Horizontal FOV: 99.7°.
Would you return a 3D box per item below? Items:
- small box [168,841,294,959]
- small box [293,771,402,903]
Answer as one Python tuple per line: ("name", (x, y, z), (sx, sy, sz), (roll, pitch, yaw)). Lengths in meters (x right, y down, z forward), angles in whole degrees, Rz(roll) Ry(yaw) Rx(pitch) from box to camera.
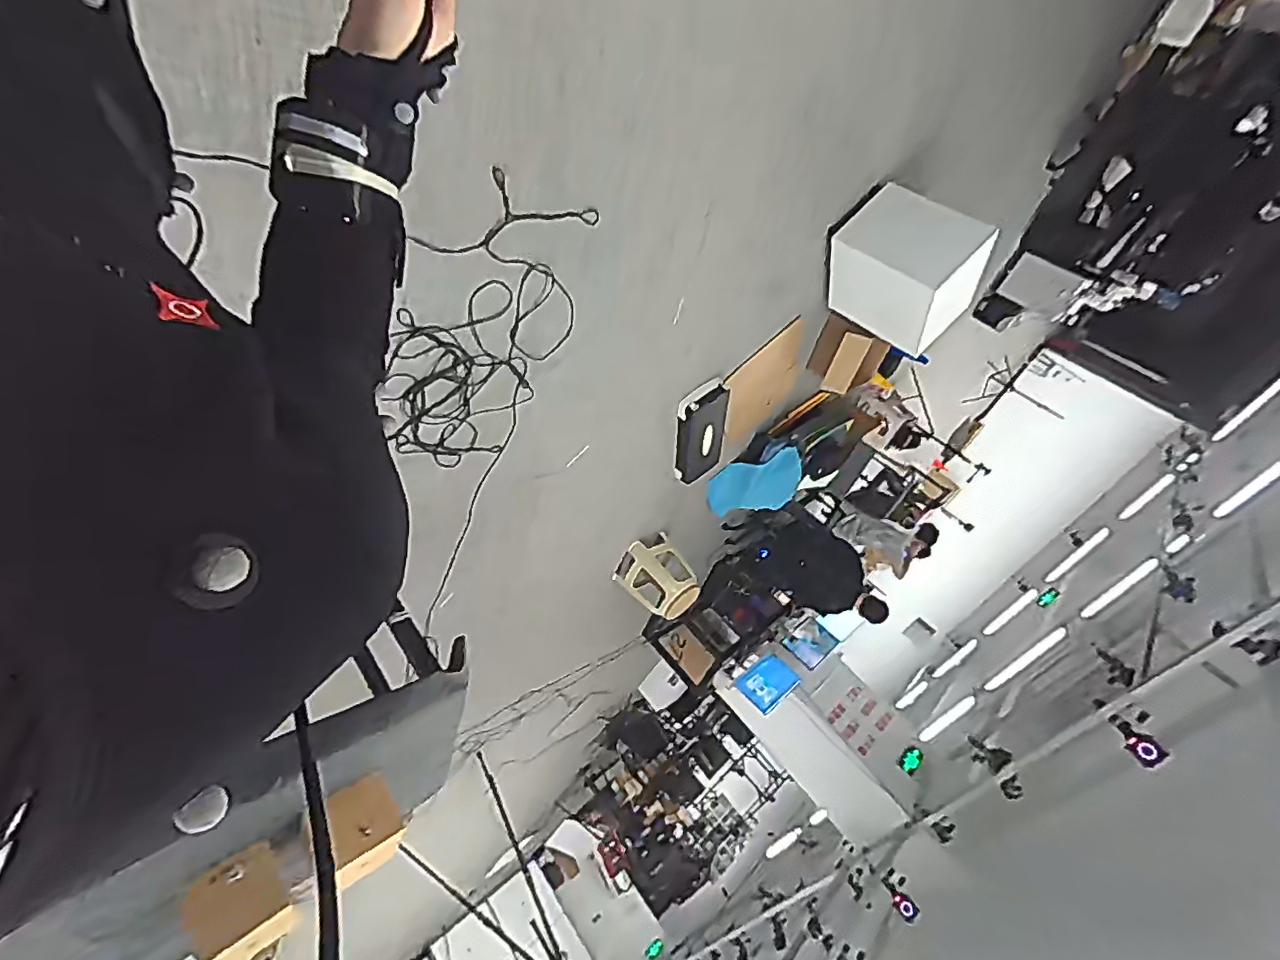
("small box", (-0.882, 0.933, 1.174), (0.168, 0.176, 0.179), (-24, 146, -41))
("small box", (-0.717, 0.860, 1.317), (0.179, 0.176, 0.168), (-13, 139, -50))
